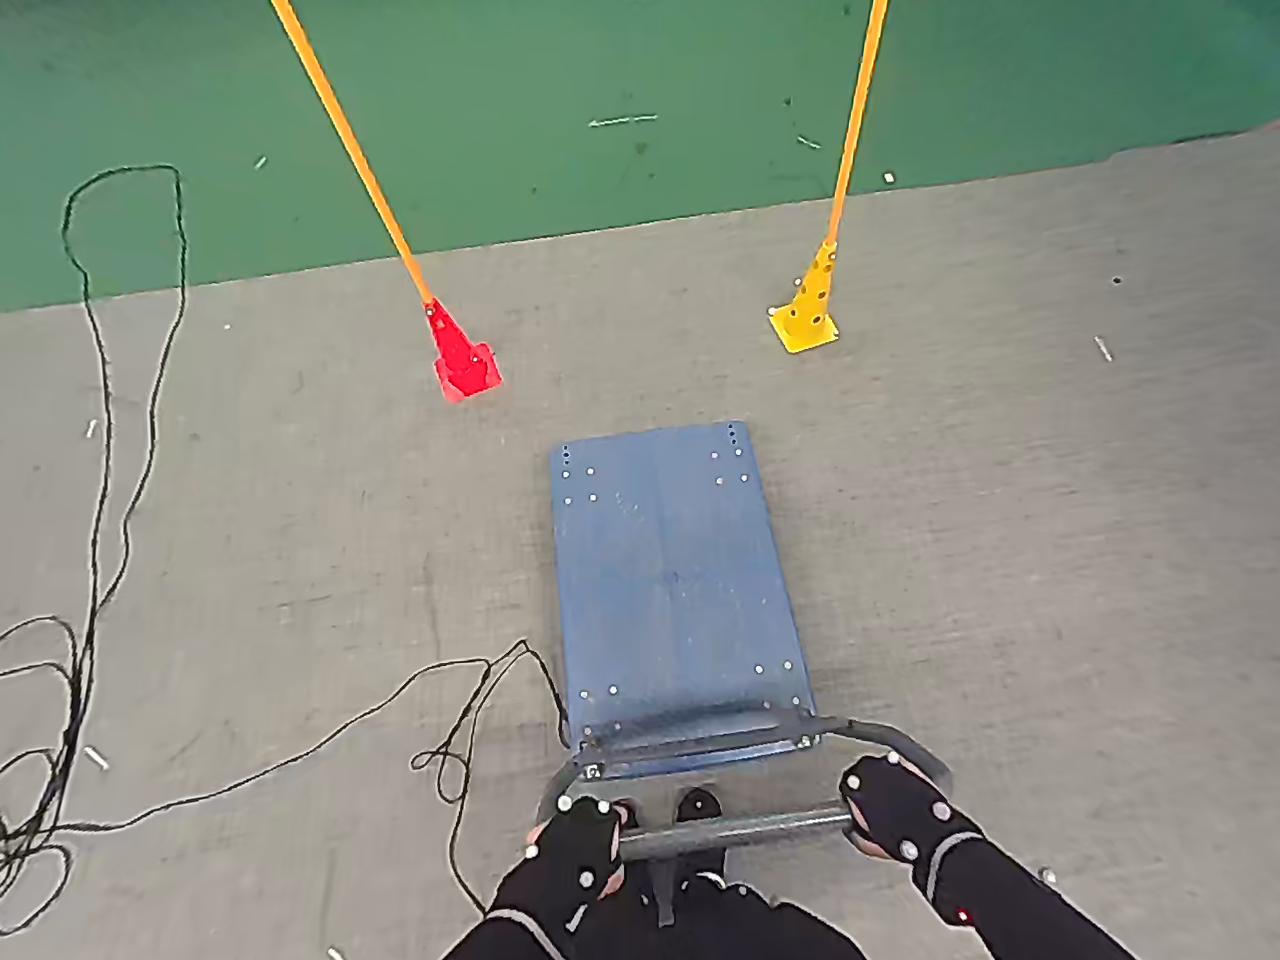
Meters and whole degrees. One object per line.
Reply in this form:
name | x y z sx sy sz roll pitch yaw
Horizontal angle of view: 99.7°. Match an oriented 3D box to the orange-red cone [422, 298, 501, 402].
orange-red cone | -0.604 -0.440 1.721 0.199 0.360 0.198 -22 66 -6
